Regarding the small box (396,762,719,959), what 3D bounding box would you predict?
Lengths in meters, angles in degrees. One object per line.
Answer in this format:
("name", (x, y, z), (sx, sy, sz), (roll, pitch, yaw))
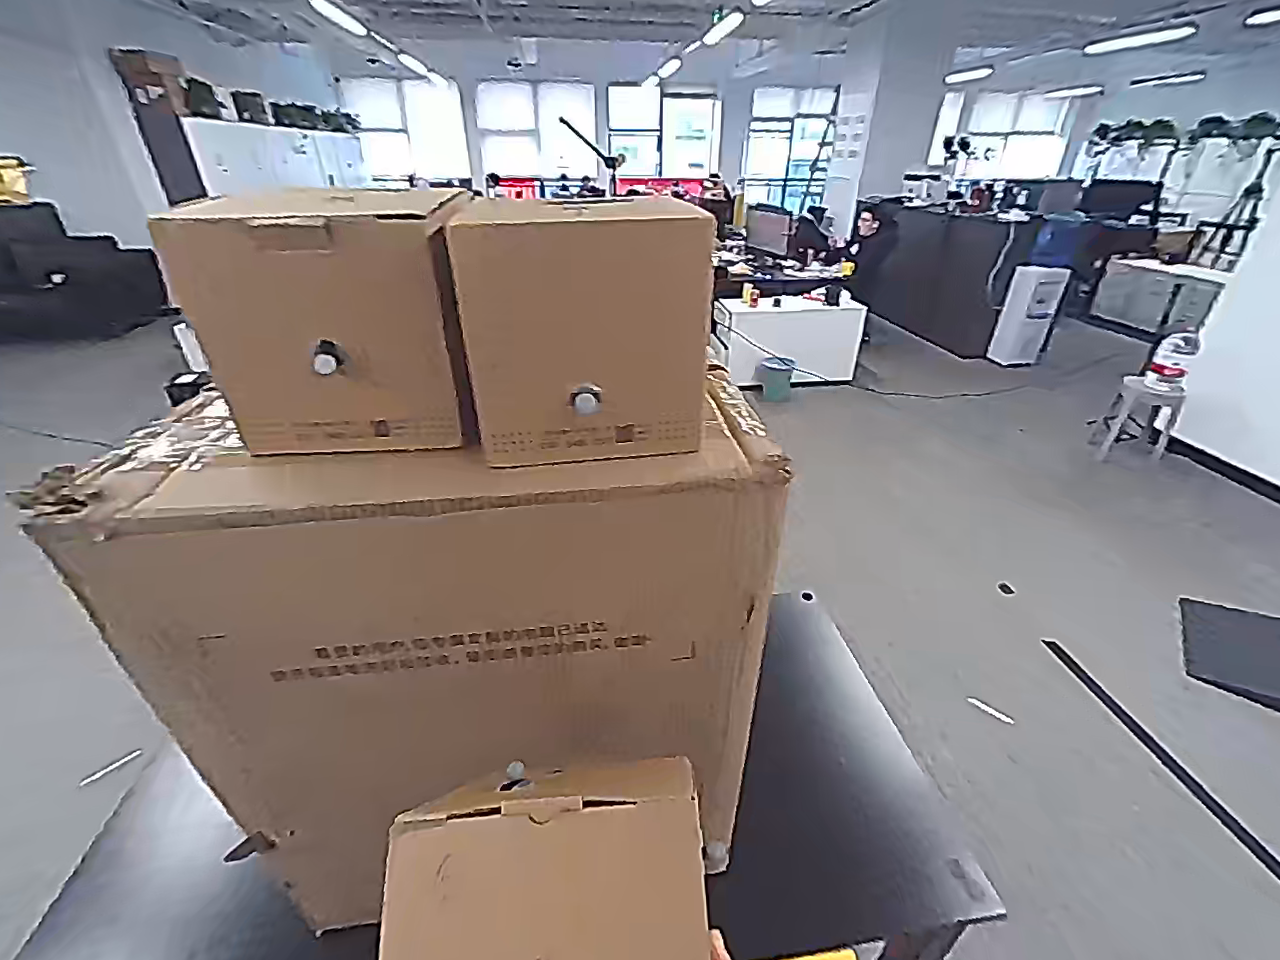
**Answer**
("small box", (-0.038, 0.282, 0.340), (0.168, 0.176, 0.179), (-5, 68, 2))
